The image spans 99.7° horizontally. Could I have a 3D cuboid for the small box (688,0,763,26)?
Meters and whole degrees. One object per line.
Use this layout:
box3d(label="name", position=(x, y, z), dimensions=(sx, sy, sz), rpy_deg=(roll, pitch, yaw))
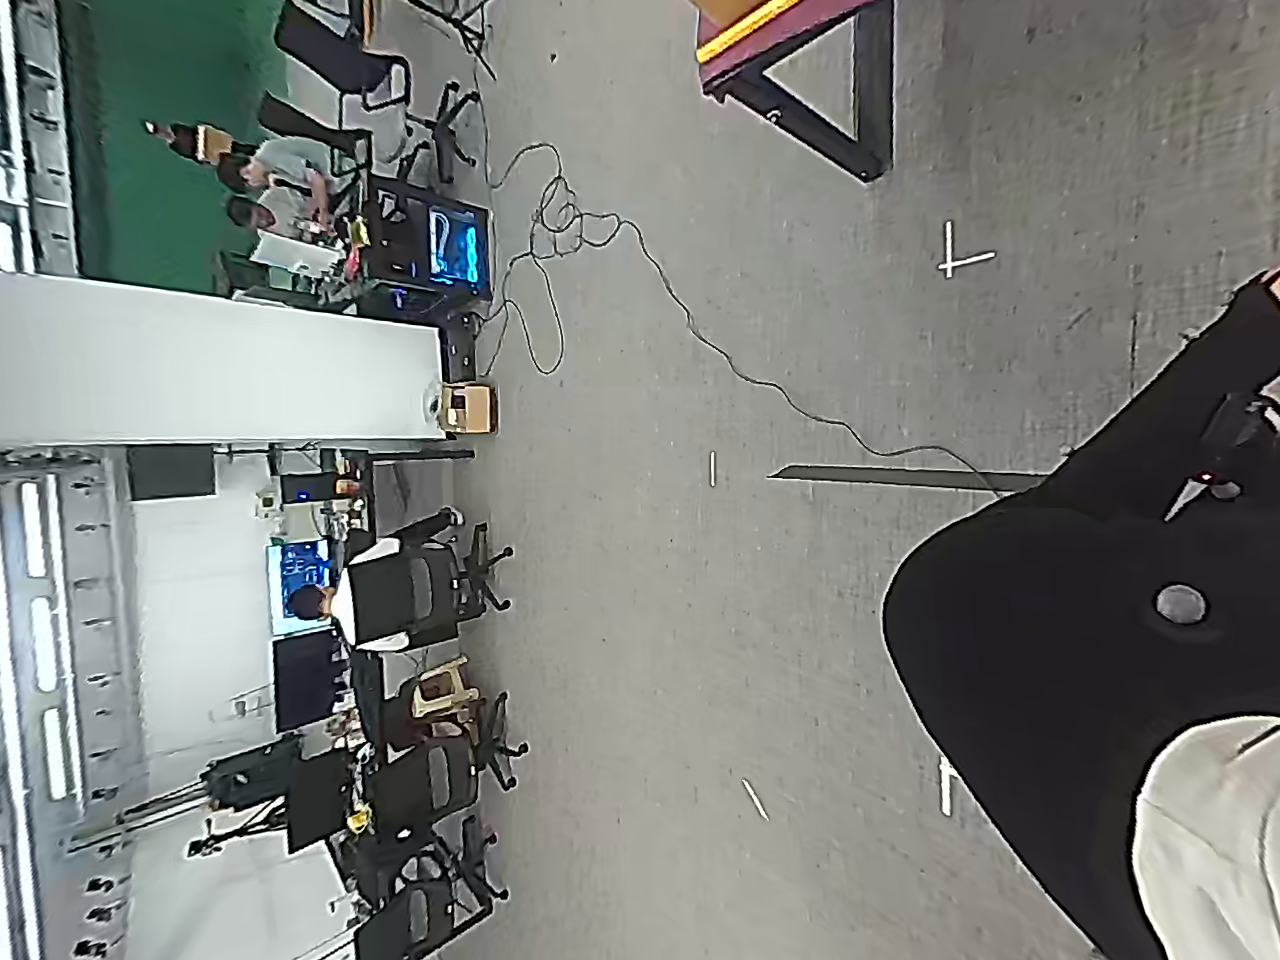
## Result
box3d(label="small box", position=(0.174, -1.017, 1.010), dimensions=(0.179, 0.176, 0.168), rpy_deg=(3, 95, 48))
